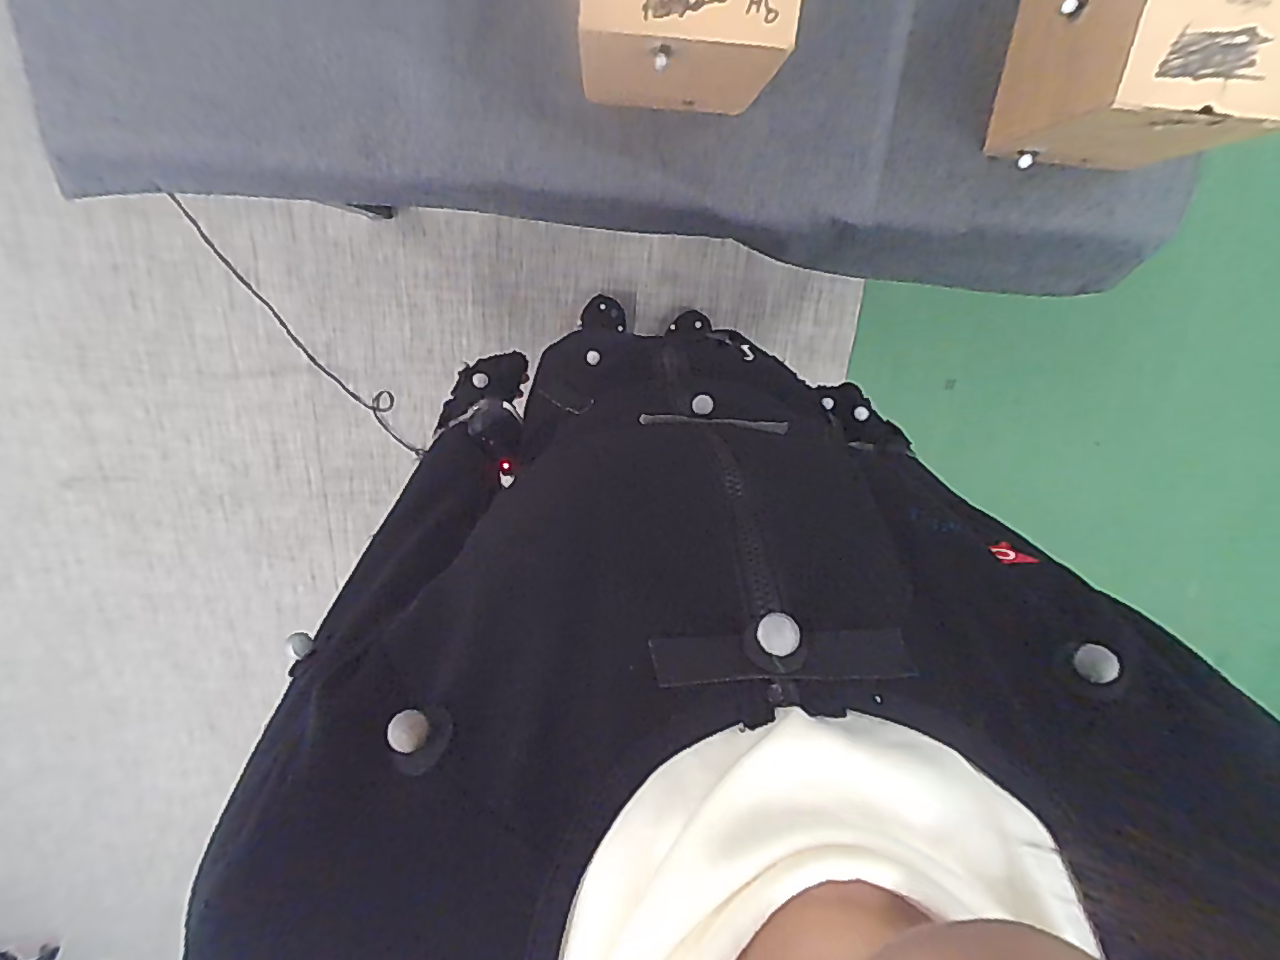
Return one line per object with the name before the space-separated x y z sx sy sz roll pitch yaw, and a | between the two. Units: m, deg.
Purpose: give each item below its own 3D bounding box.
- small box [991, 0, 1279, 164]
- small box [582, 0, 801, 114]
small box | 0.462 -0.407 0.490 0.168 0.176 0.179 4 108 -4
small box | 0.038 -0.443 0.455 0.168 0.176 0.179 2 109 -4
